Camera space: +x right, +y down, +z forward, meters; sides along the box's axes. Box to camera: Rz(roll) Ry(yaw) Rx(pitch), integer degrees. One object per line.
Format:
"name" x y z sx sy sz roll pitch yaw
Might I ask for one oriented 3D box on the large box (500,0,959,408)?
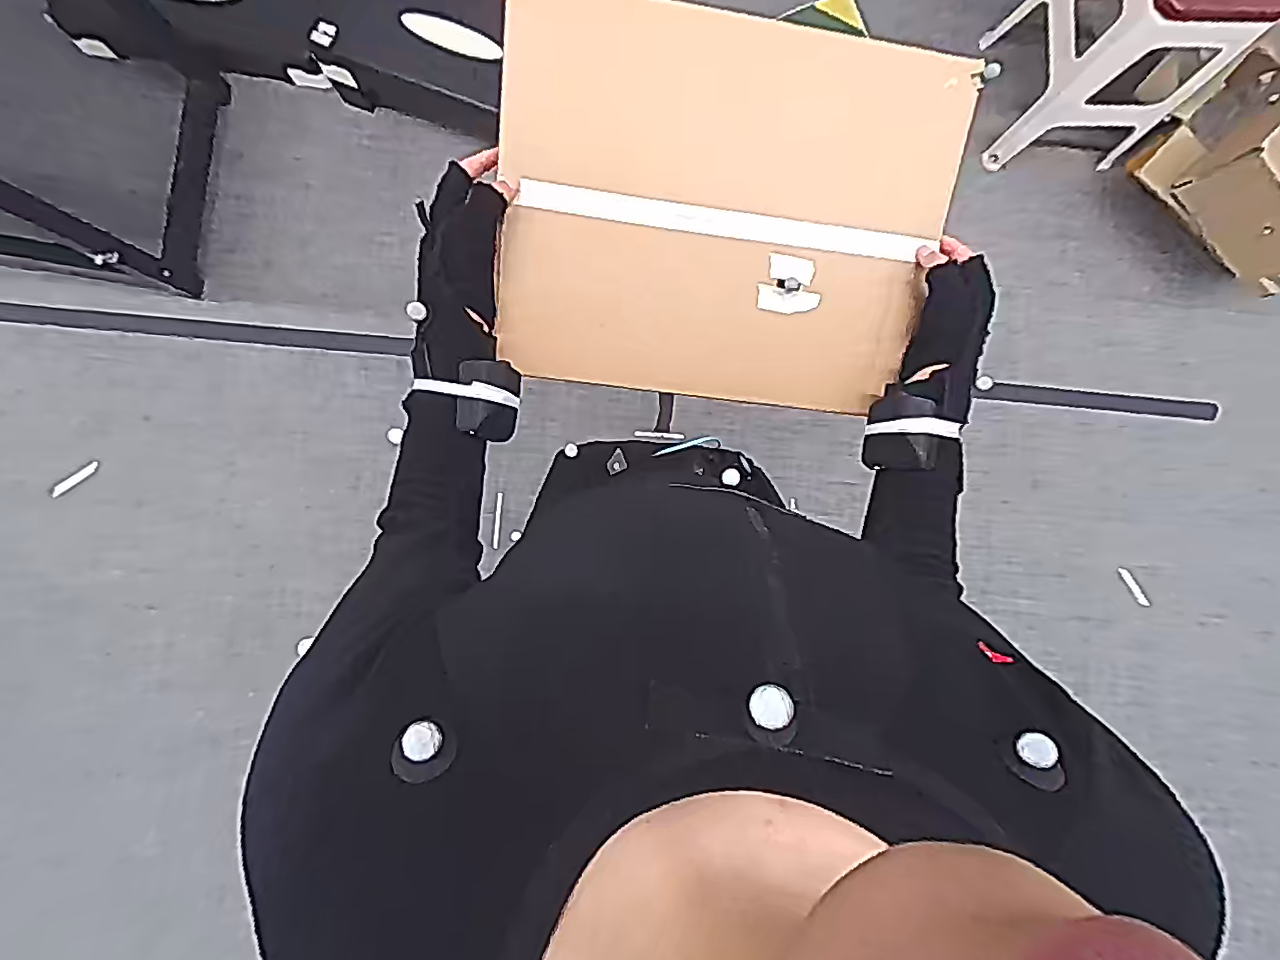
"large box" 0.062 -0.278 0.646 0.408 0.320 0.320 6 107 -7
